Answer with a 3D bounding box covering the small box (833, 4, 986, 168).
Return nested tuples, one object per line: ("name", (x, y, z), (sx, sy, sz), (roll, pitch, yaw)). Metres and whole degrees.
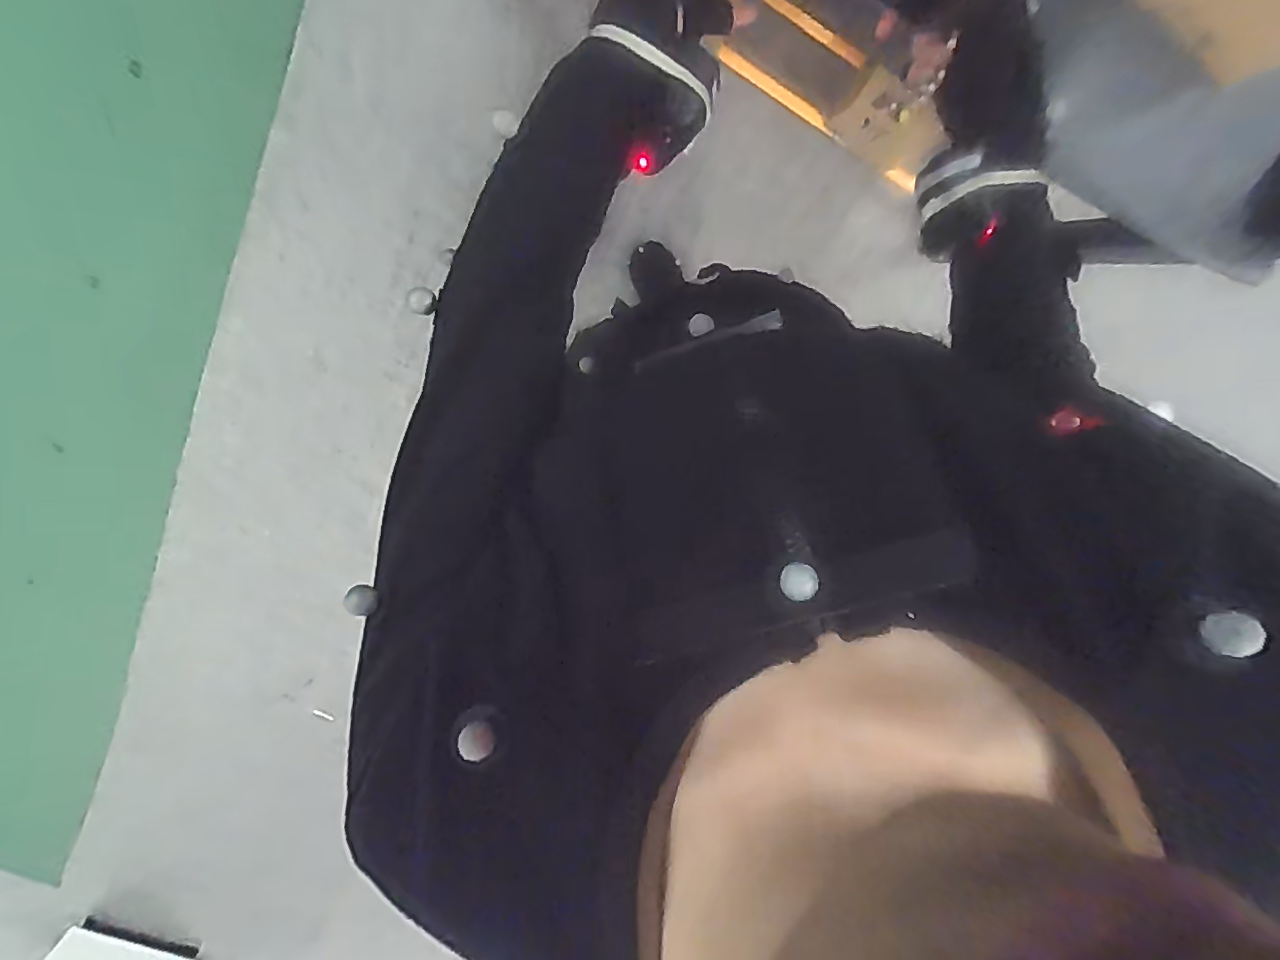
("small box", (0.495, -0.729, 1.030), (0.168, 0.176, 0.179), (30, 109, -12))
